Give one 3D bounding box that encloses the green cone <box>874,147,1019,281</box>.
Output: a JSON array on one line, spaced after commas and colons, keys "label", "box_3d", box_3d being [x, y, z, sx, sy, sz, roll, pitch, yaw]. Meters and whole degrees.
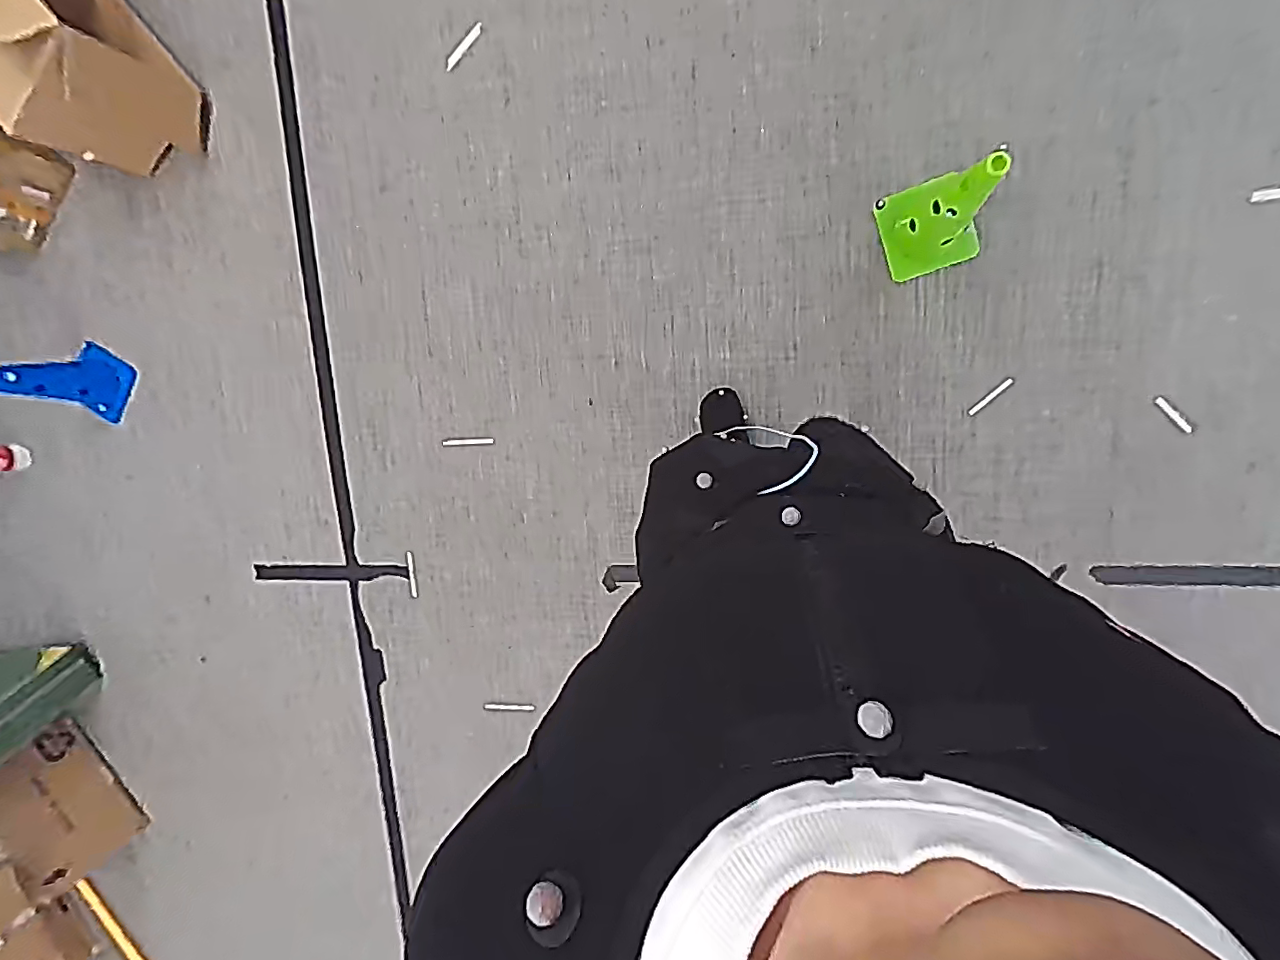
[{"label": "green cone", "box_3d": [0.648, -0.567, 1.101, 0.202, 0.368, 0.200, -18, 95, 10]}]
